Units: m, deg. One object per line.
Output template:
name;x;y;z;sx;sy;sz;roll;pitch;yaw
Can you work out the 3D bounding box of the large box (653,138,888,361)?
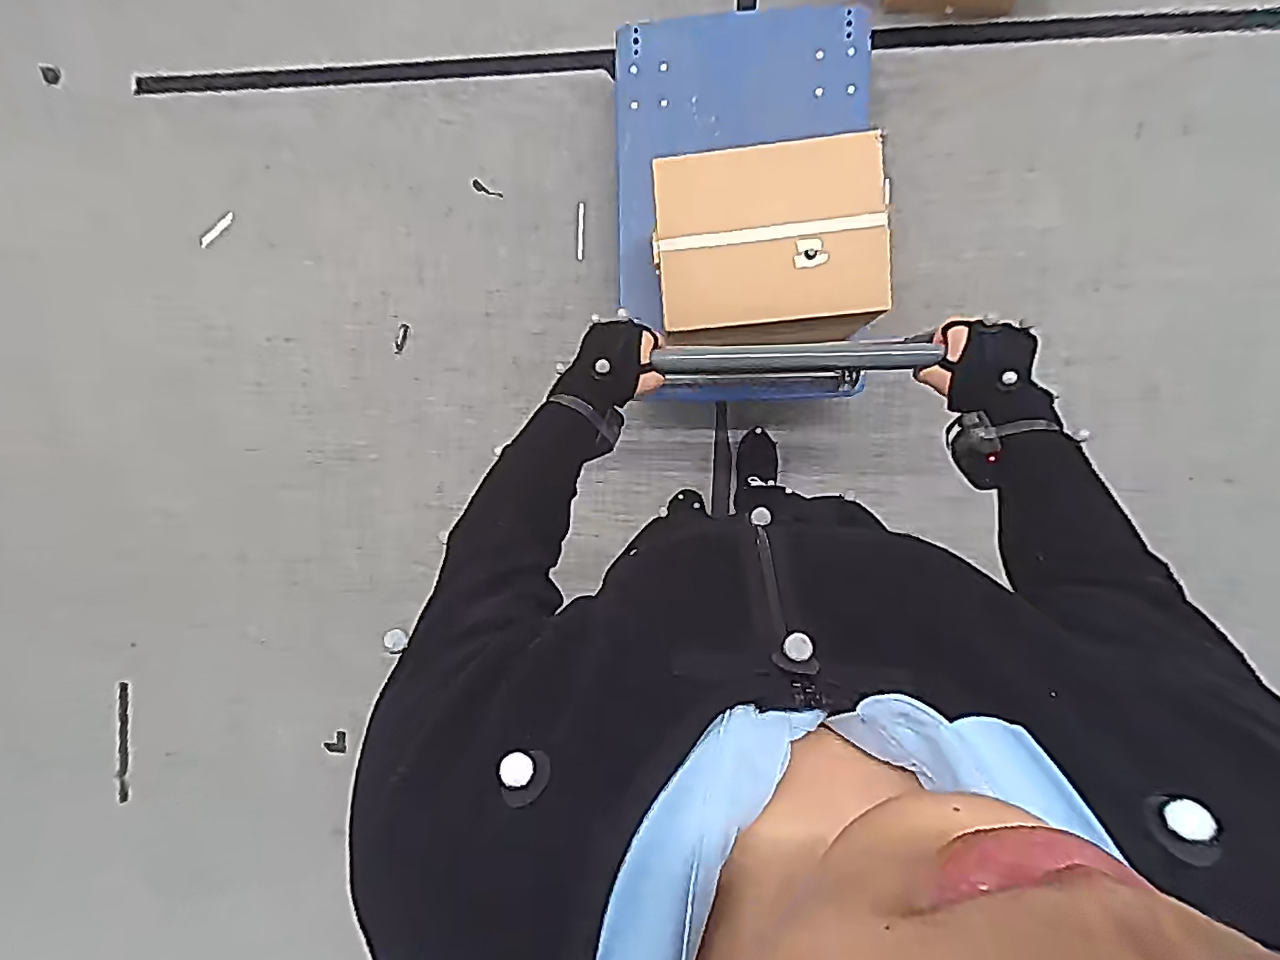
large box;0.245;-0.445;1.127;0.408;0.320;0.320;-5;93;4
